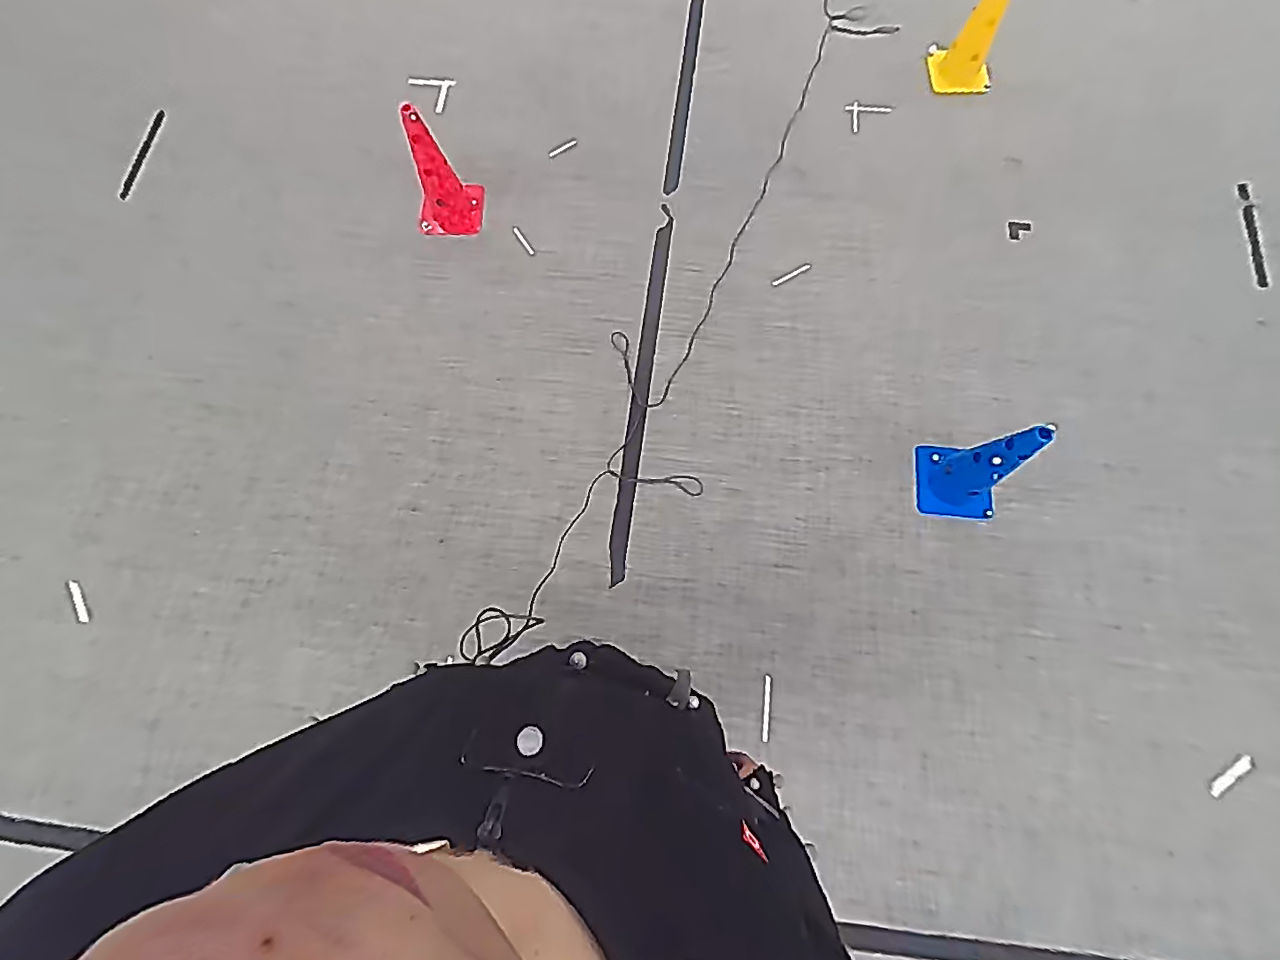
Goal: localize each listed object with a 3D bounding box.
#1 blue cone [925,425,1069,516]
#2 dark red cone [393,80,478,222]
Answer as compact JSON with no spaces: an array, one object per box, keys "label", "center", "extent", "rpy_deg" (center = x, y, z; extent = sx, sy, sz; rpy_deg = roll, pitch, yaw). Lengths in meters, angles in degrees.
[{"label":"blue cone","center":[0.866,-0.046,1.304],"extent":[0.192,0.380,0.193],"rpy_deg":[7,73,2]},{"label":"dark red cone","center":[-0.620,-0.952,1.570],"extent":[0.201,0.394,0.202],"rpy_deg":[-1,73,0]}]
